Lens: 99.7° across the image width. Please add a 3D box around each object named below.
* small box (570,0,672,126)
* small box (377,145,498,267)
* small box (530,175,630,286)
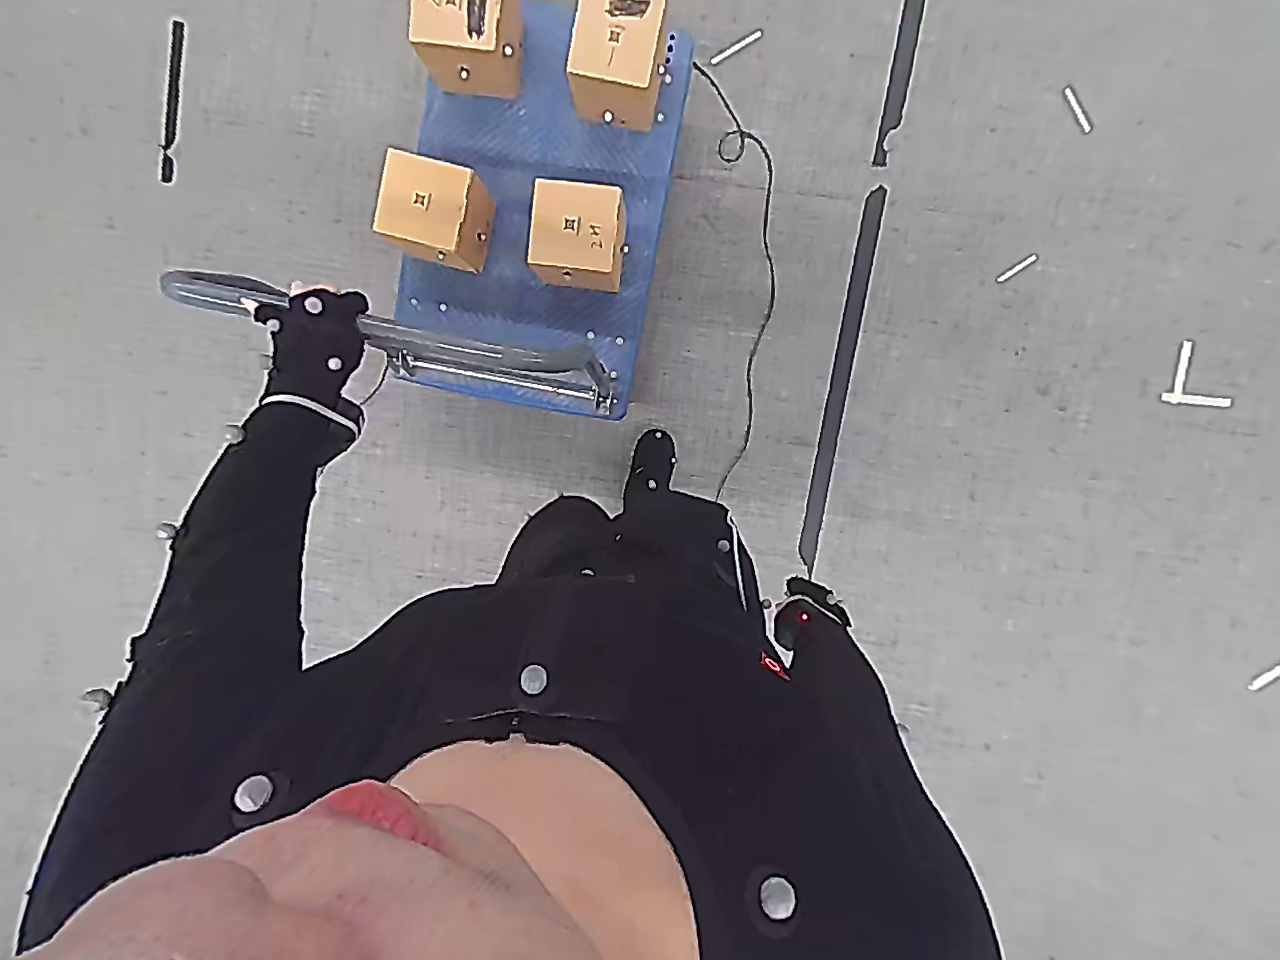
[{"bbox_3d":[-0.036,-0.874,1.109,0.168,0.176,0.179,13,98,1],"label":"small box"},{"bbox_3d":[-0.426,-0.576,1.160,0.179,0.176,0.168,14,97,-1],"label":"small box"},{"bbox_3d":[-0.121,-0.523,1.153,0.179,0.176,0.168,7,97,2],"label":"small box"}]
